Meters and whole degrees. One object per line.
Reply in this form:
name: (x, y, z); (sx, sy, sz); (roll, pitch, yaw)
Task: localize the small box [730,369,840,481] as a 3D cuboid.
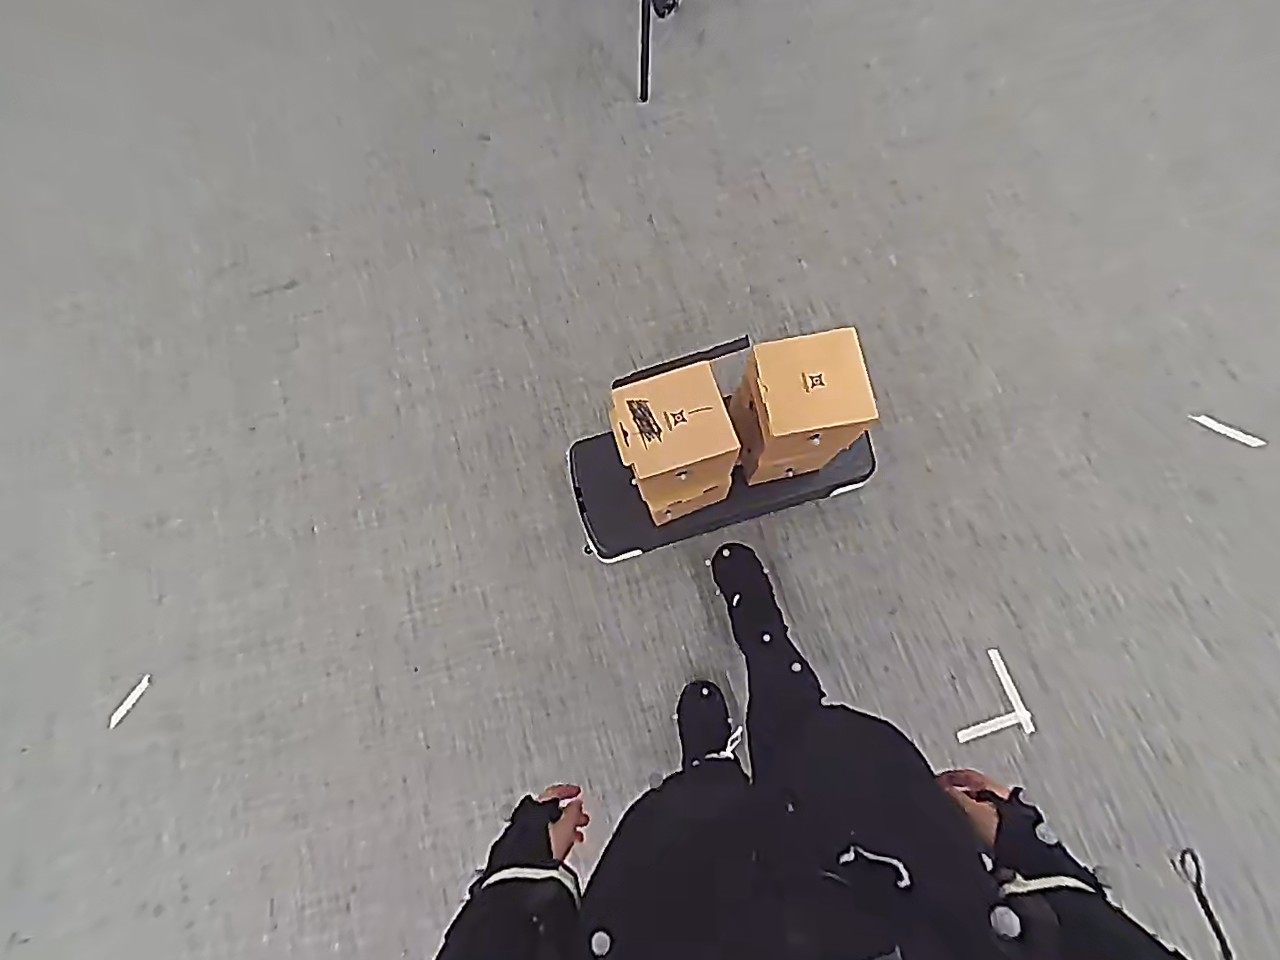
small box: (0.290, -0.103, 1.117); (0.168, 0.176, 0.179); (-13, 76, 1)
